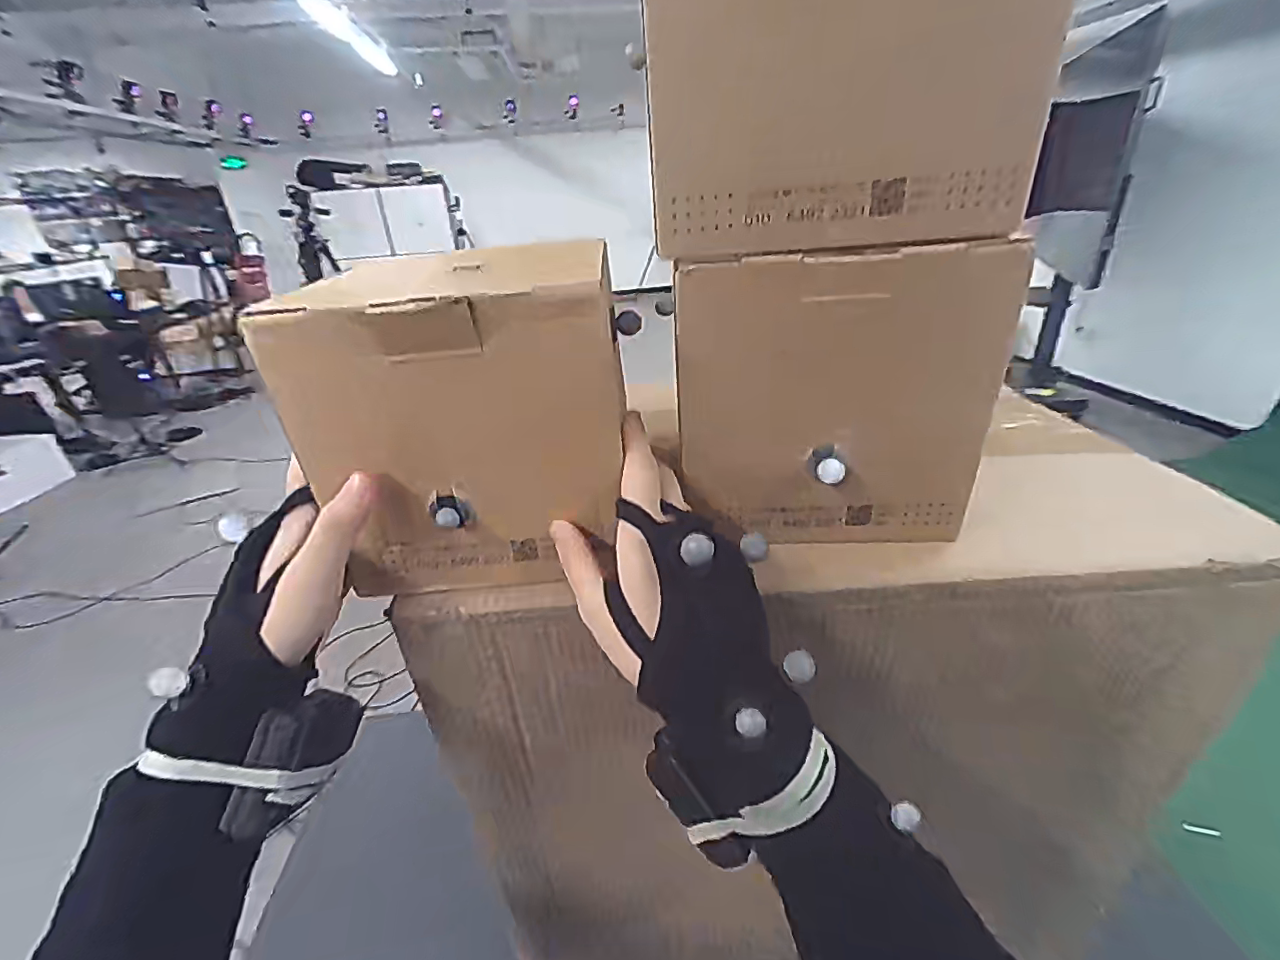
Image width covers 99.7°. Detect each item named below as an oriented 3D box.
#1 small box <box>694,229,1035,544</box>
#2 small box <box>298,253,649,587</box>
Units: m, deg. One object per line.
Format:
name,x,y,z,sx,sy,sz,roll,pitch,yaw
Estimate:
small box,0.121,-0.073,0.379,0.168,0.176,0.179,-2,30,5
small box,-0.082,-0.050,0.367,0.168,0.176,0.179,-5,30,-1
